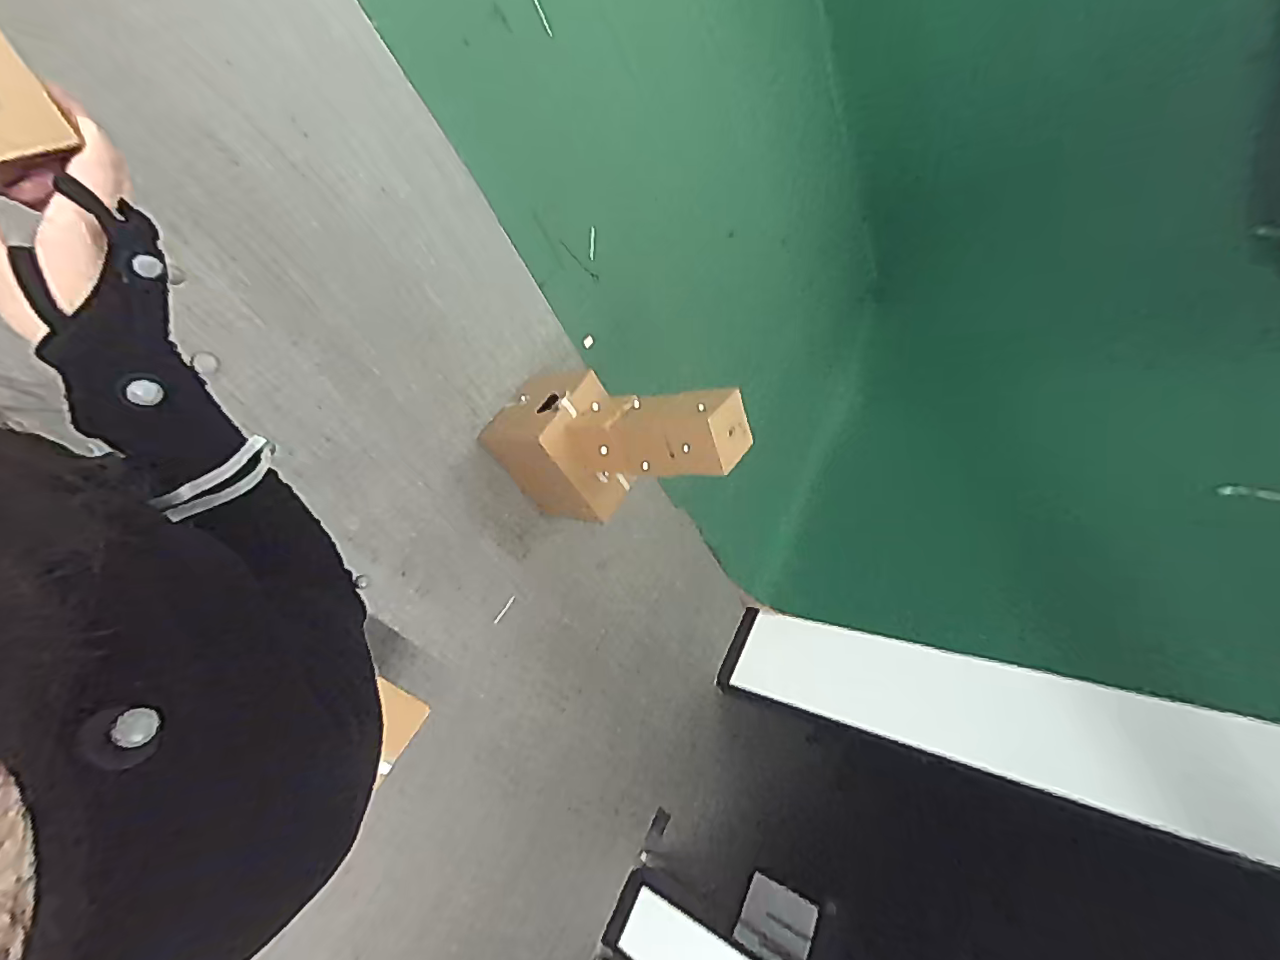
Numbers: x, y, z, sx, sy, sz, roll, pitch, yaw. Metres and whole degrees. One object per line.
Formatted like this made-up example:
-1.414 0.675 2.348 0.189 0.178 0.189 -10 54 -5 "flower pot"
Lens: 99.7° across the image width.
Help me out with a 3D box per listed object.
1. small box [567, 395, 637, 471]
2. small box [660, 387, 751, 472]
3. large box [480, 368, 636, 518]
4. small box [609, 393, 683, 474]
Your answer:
-0.089 -0.146 1.651 0.168 0.176 0.179 -49 127 -36 "small box"
0.170 -0.135 1.451 0.179 0.176 0.168 -45 125 -39 "small box"
-0.253 -0.121 1.835 0.320 0.320 0.408 -58 133 -28 "large box"
0.042 -0.134 1.555 0.168 0.176 0.179 -46 125 -39 "small box"
